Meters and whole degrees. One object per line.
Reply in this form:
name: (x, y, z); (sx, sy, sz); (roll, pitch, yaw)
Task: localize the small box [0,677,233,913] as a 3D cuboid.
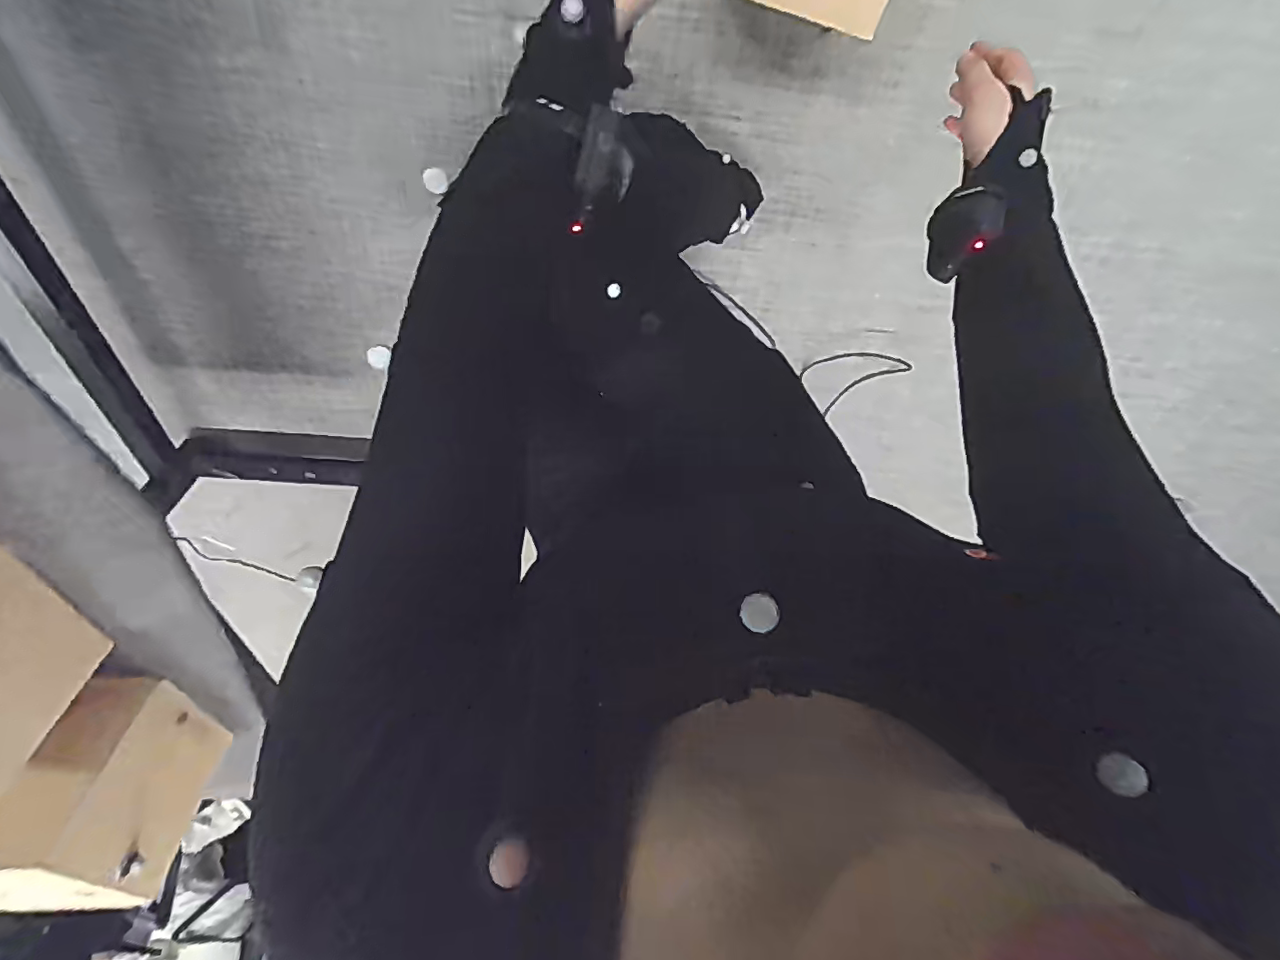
small box: (-0.569, 0.312, 0.541); (0.179, 0.176, 0.168); (3, 135, -3)

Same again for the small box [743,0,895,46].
small box: (0.216, -0.644, 0.629); (0.179, 0.176, 0.168); (10, 134, -10)
